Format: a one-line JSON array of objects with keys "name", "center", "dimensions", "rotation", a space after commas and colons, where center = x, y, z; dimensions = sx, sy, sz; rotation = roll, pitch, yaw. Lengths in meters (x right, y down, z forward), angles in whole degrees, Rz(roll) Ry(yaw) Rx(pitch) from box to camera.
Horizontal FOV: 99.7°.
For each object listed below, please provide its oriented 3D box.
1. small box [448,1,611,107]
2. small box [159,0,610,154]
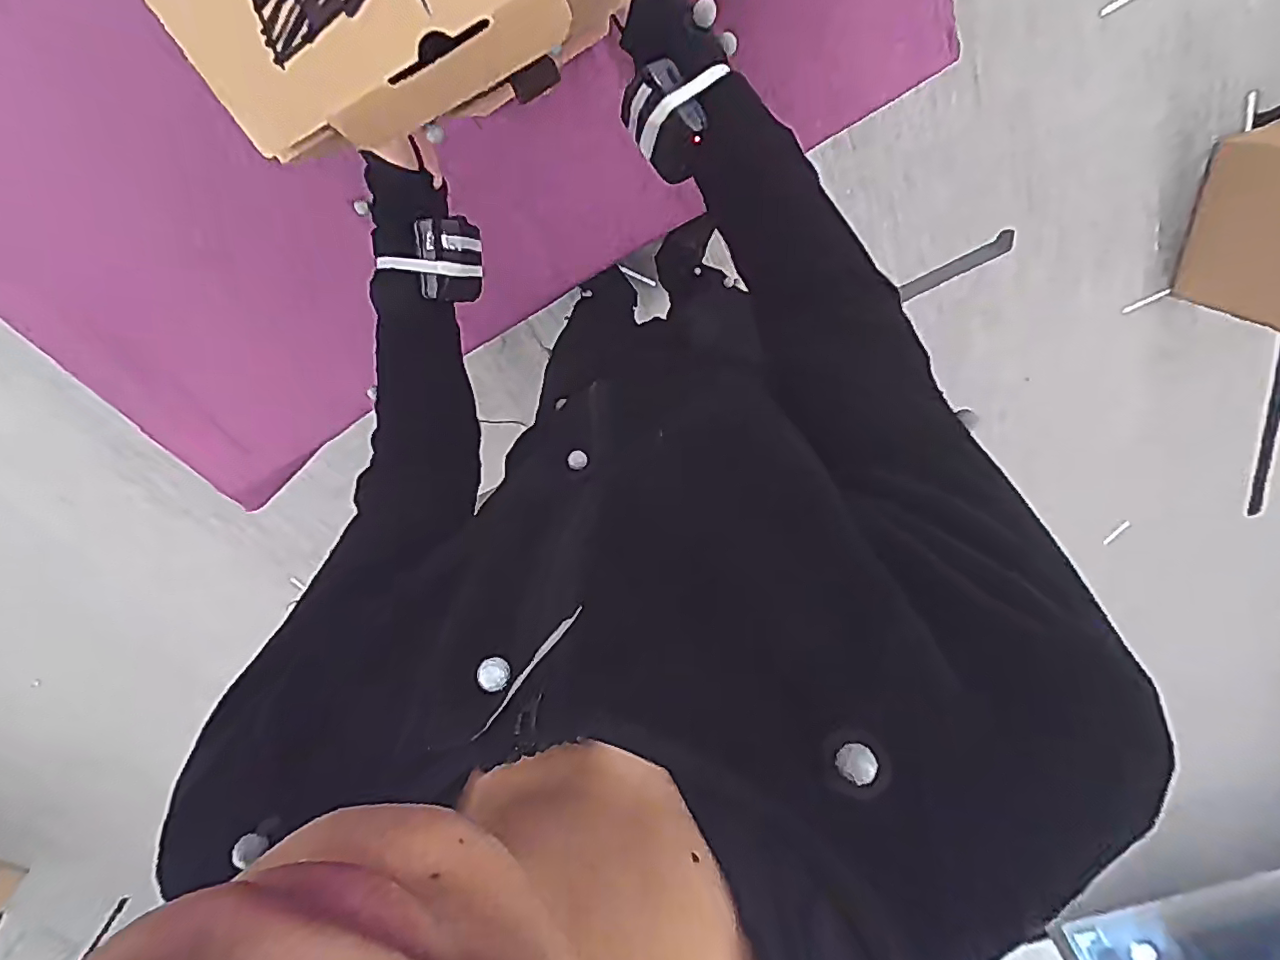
[{"name": "small box", "center": [-0.138, -0.467, 0.485], "dimensions": [0.168, 0.176, 0.179], "rotation": [-24, 123, 13]}, {"name": "small box", "center": [-0.114, -0.270, 0.224], "dimensions": [0.168, 0.176, 0.179], "rotation": [-23, 123, 11]}]
